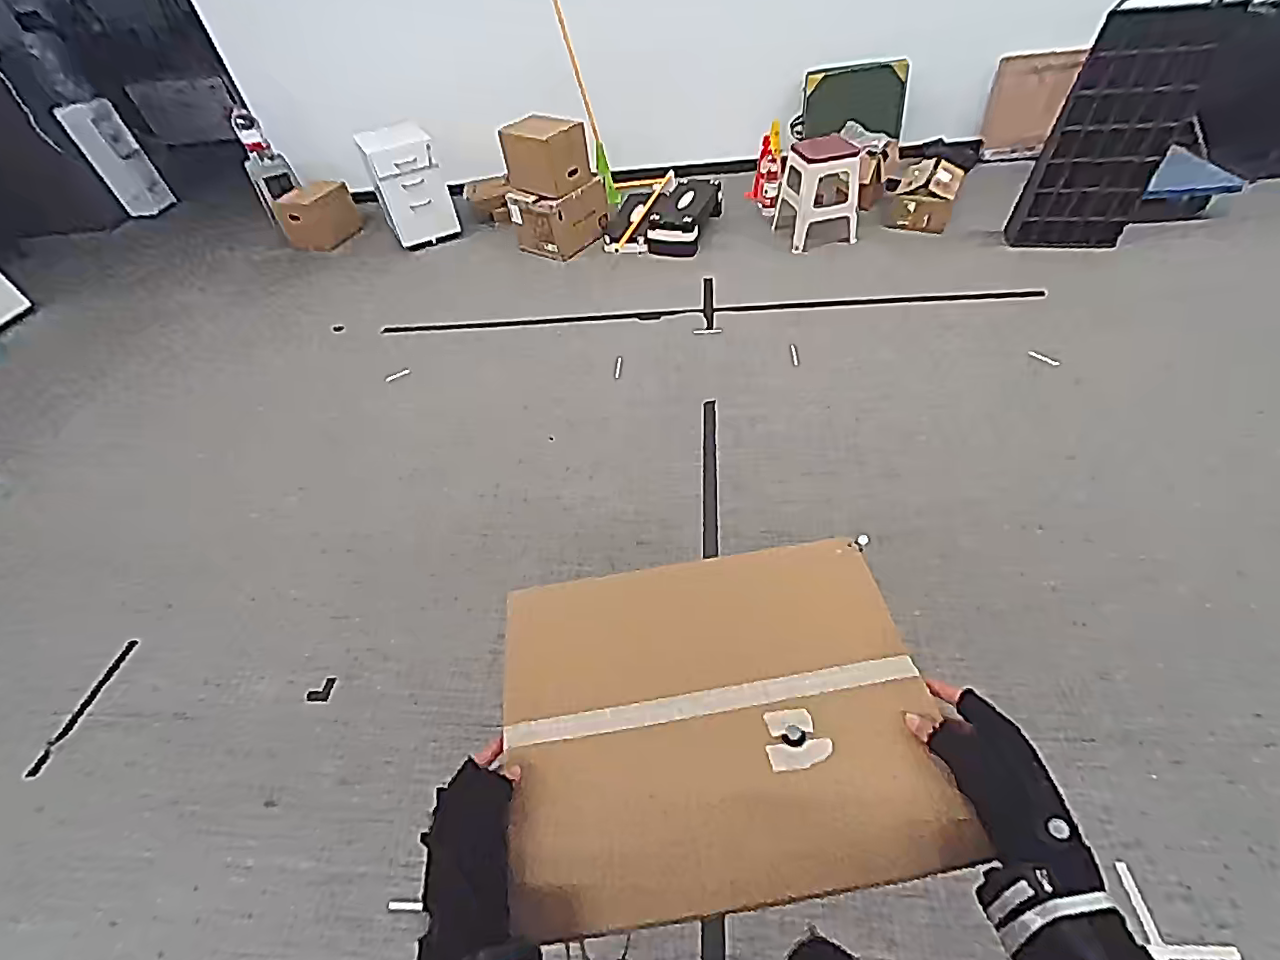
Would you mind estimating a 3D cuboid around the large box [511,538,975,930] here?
[{"bbox_3d":[0.079,0.311,0.655,0.408,0.320,0.320,-9,51,-1],"label":"large box"}]
